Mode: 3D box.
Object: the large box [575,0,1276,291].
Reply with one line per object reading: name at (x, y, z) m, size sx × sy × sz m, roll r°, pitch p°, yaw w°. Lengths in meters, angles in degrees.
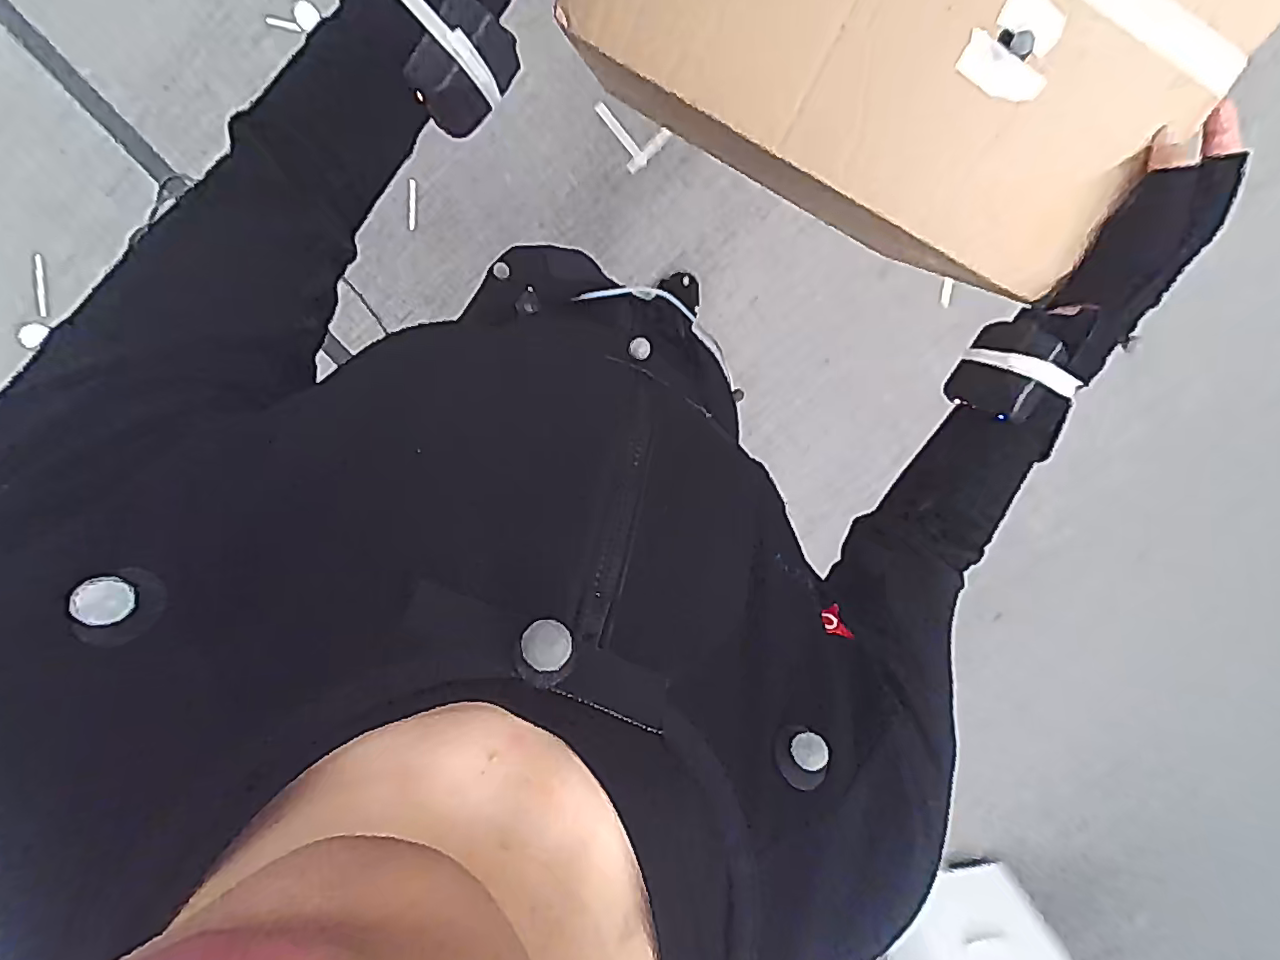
large box at (0.198, -0.412, 0.452) m, size 0.408 × 0.320 × 0.320 m, roll 23°, pitch 118°, yaw -11°
